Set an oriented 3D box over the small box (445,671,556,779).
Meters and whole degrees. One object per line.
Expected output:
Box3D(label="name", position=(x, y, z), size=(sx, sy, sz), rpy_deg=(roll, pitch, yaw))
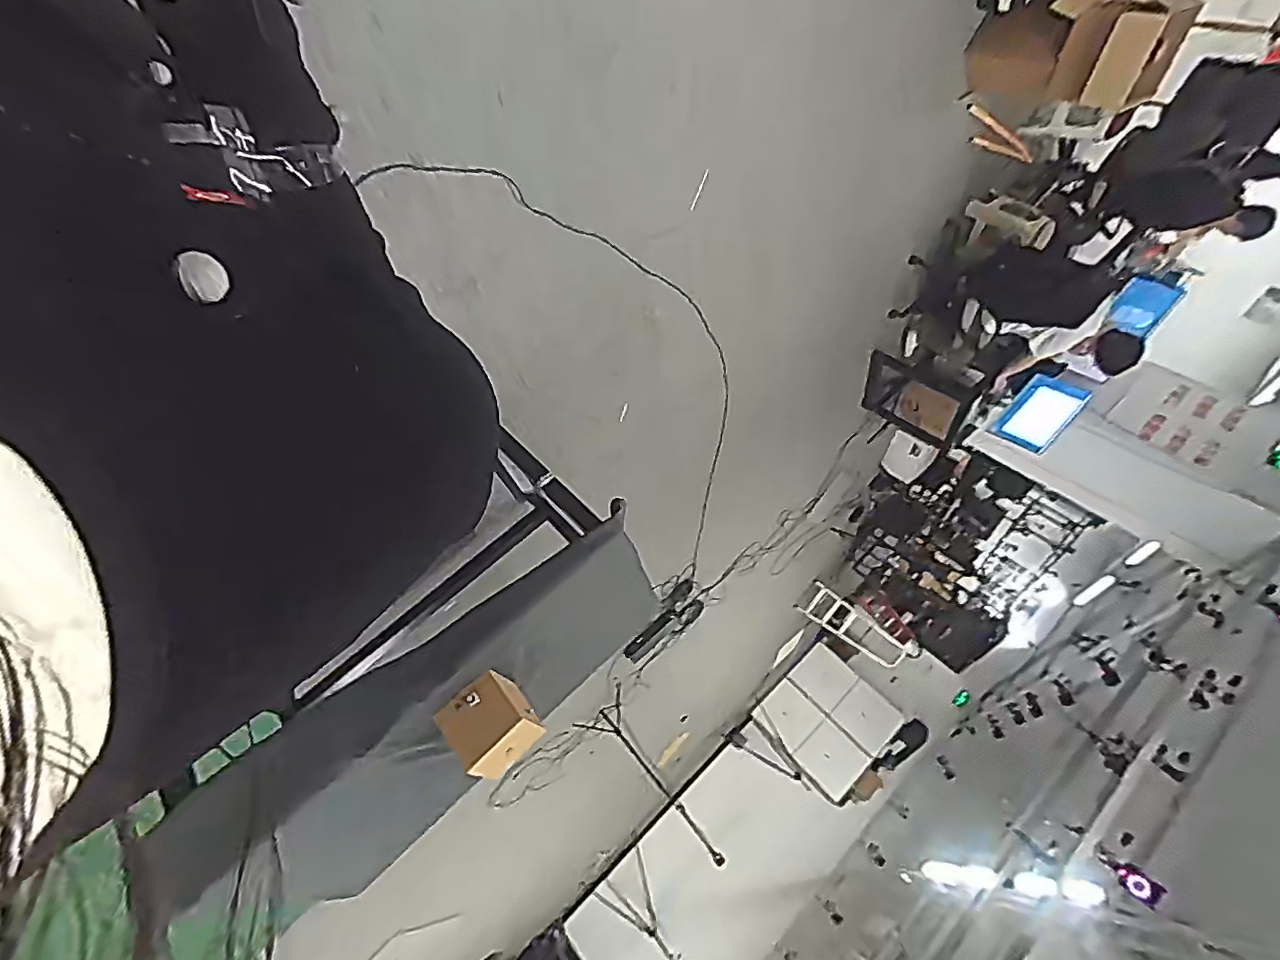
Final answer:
Box3D(label="small box", position=(-0.342, 0.601, 1.333), size=(0.168, 0.176, 0.179), rpy_deg=(-43, 147, -14))
